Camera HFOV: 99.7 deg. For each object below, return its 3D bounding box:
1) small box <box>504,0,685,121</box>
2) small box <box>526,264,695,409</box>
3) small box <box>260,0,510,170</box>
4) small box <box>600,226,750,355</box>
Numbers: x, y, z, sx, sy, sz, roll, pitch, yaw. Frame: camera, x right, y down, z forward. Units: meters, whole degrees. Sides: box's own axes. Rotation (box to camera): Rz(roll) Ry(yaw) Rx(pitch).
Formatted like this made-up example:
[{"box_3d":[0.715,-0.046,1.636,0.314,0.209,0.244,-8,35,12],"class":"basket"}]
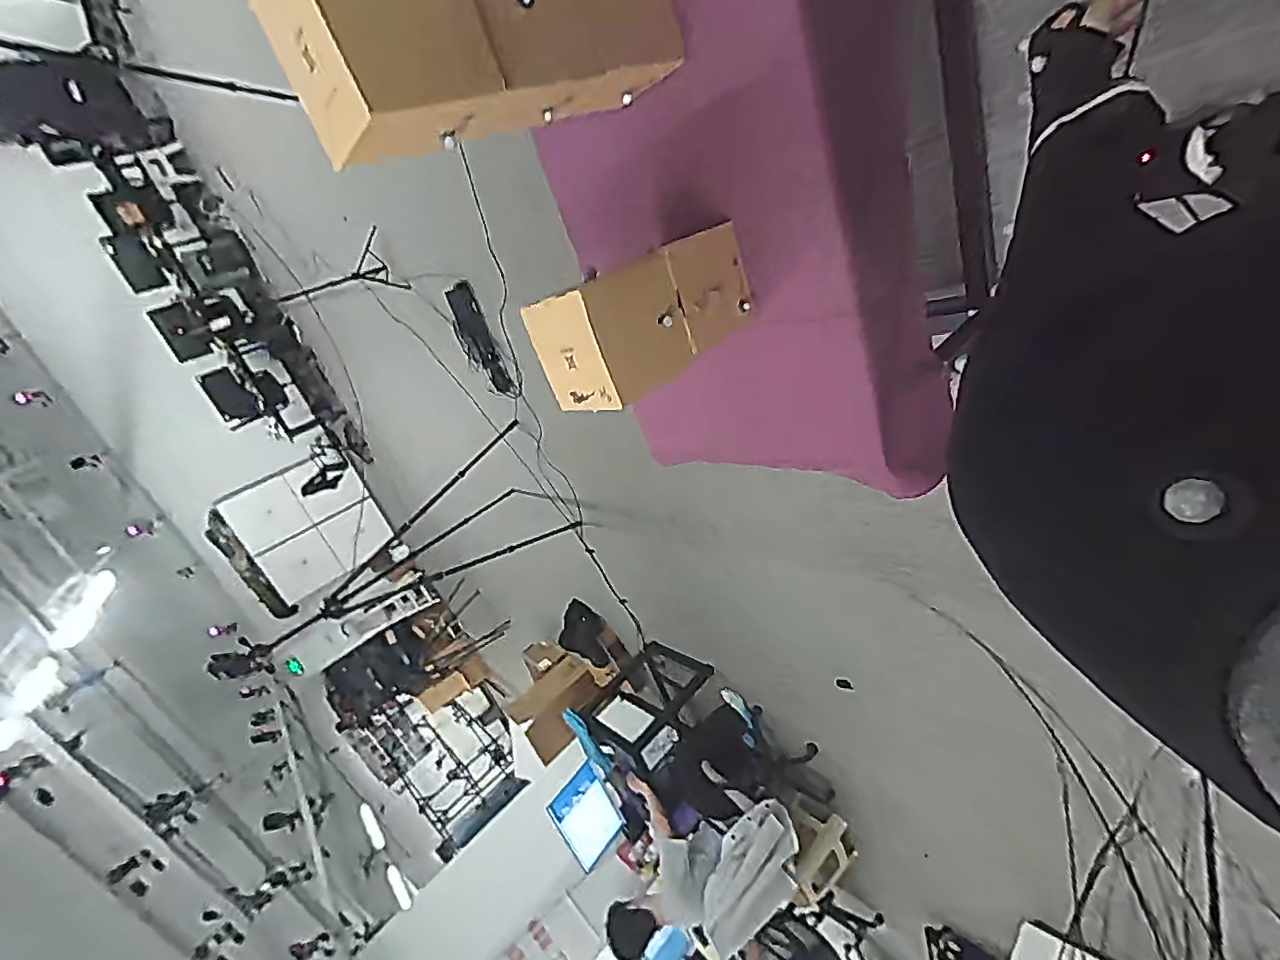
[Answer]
[{"box_3d":[-0.063,-0.655,0.780,0.168,0.176,0.179,10,127,50],"class":"small box"},{"box_3d":[-0.041,-0.225,0.847,0.168,0.176,0.179,10,126,50],"class":"small box"},{"box_3d":[-0.279,-0.480,0.605,0.168,0.176,0.179,10,128,50],"class":"small box"},{"box_3d":[0.068,-0.316,0.930,0.179,0.176,0.168,8,126,51],"class":"small box"}]
